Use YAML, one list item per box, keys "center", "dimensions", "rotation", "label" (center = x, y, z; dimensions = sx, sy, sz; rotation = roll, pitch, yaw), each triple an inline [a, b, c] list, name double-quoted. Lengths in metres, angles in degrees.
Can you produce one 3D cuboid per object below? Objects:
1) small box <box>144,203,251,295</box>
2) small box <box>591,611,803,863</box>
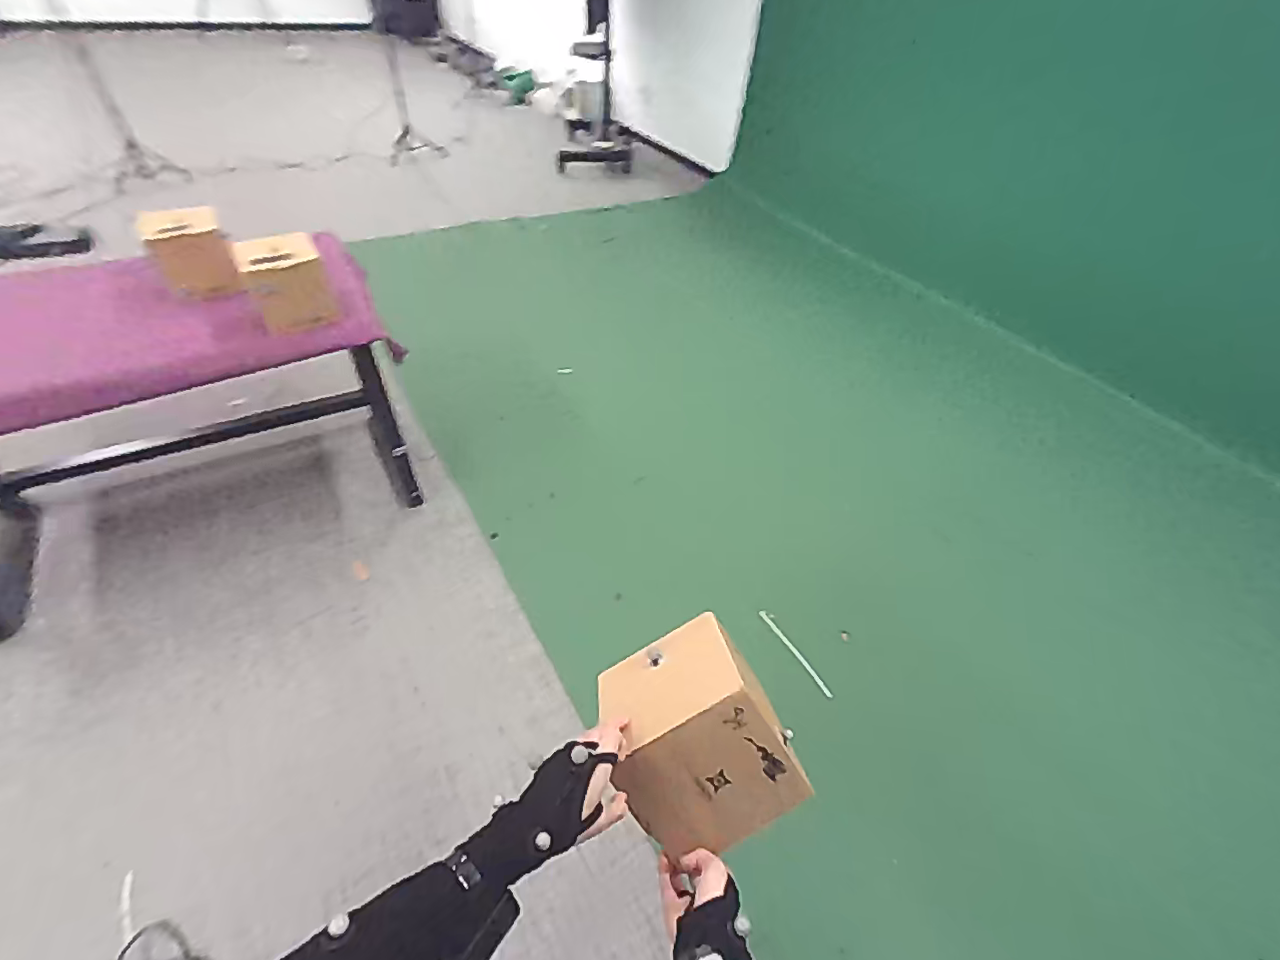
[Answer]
- center: [-1.161, -0.603, 1.426]
  dimensions: [0.168, 0.176, 0.179]
  rotation: [-22, 52, -25]
  label: "small box"
- center: [0.057, 0.292, 0.647]
  dimensions: [0.179, 0.168, 0.176]
  rotation: [-32, 15, 2]
  label: "small box"
